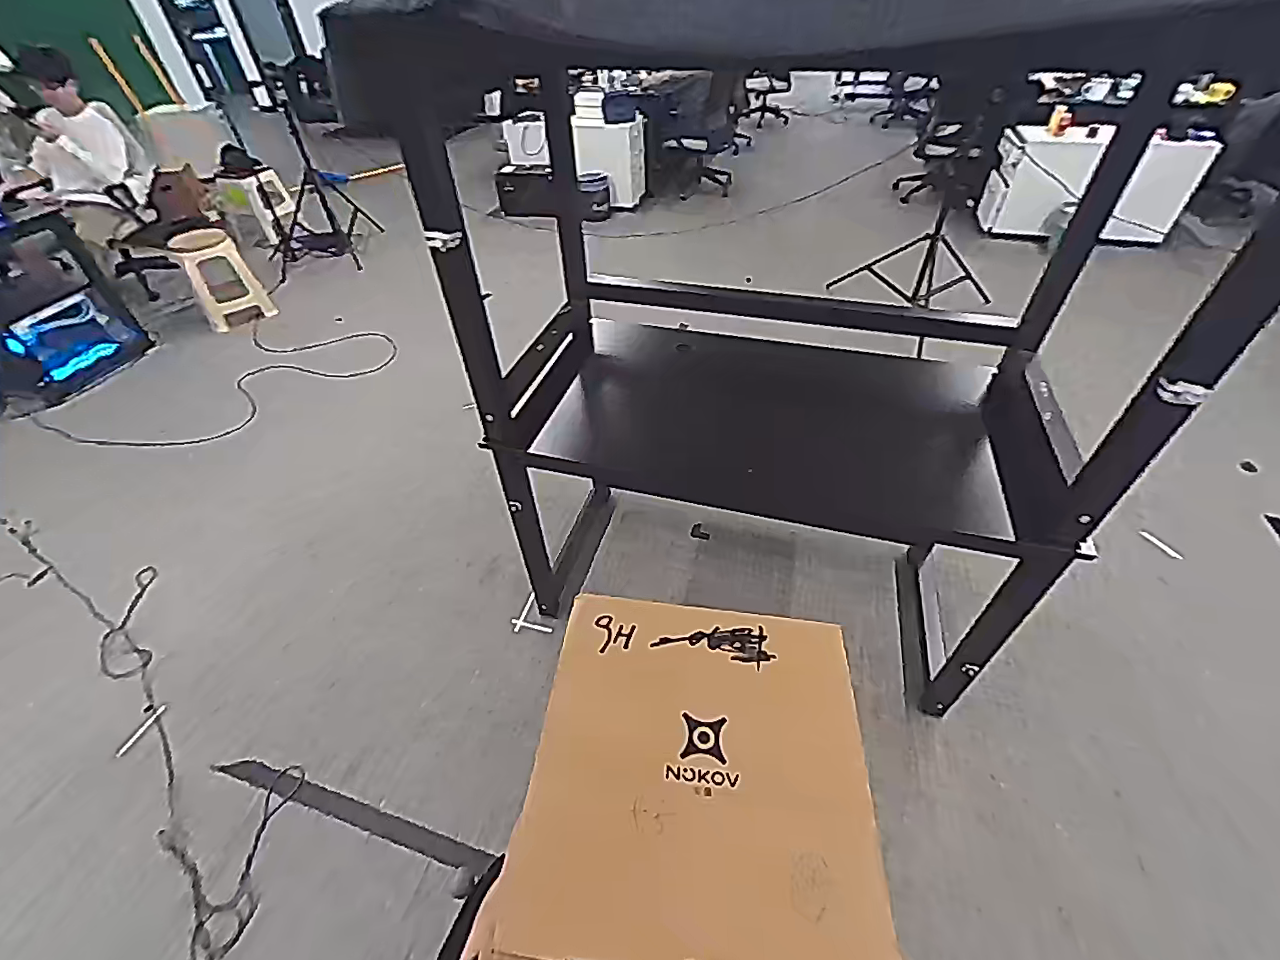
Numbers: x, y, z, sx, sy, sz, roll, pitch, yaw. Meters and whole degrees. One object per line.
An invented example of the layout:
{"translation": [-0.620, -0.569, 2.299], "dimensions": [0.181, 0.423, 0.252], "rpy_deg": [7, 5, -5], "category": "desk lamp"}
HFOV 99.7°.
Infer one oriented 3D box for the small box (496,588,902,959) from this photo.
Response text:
{"translation": [0.031, 0.192, 0.323], "dimensions": [0.168, 0.176, 0.179], "rpy_deg": [7, 45, 3], "category": "small box"}
